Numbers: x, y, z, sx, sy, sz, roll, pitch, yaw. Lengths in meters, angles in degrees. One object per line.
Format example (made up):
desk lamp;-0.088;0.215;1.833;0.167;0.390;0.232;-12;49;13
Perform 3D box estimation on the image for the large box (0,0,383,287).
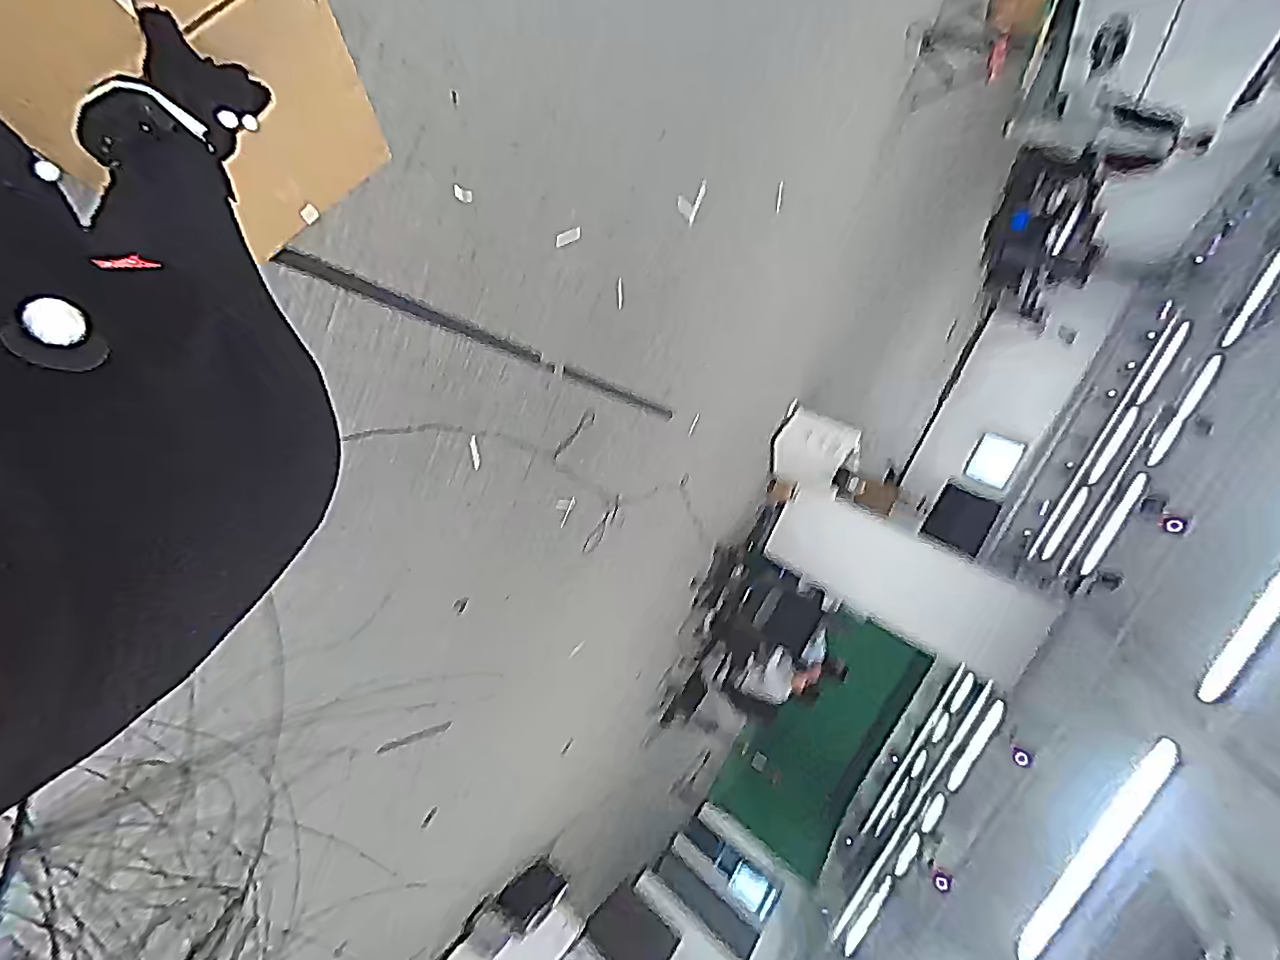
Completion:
large box;-0.597;-0.523;0.635;0.320;0.408;0.320;-45;-173;-10
